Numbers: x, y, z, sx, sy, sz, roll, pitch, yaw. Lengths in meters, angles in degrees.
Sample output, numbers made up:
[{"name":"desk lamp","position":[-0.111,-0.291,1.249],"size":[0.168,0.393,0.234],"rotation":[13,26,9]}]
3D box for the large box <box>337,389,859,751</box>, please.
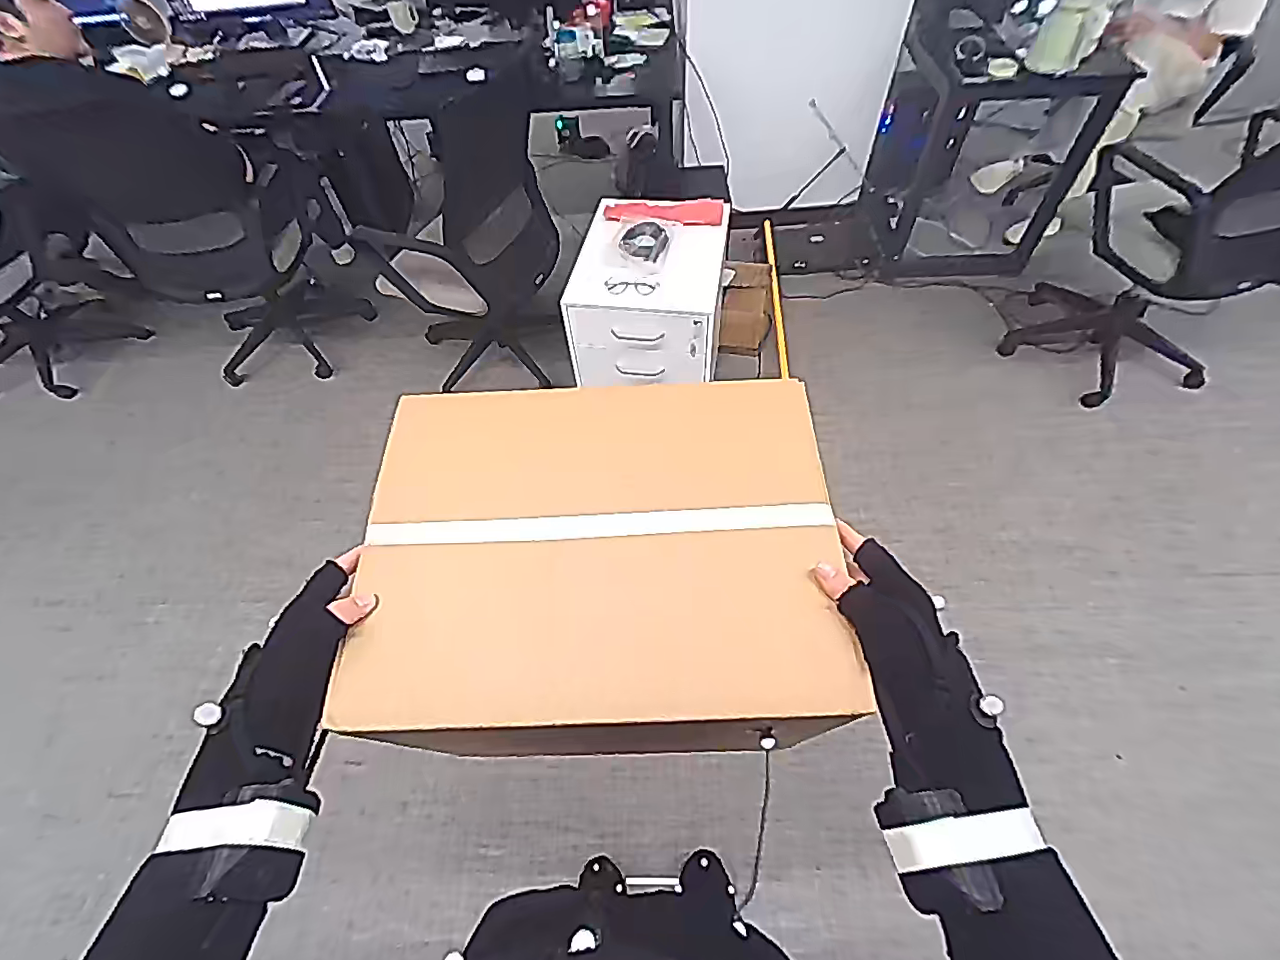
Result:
[{"name":"large box","position":[-0.032,0.121,0.608],"size":[0.408,0.320,0.320],"rotation":[-2,59,1]}]
